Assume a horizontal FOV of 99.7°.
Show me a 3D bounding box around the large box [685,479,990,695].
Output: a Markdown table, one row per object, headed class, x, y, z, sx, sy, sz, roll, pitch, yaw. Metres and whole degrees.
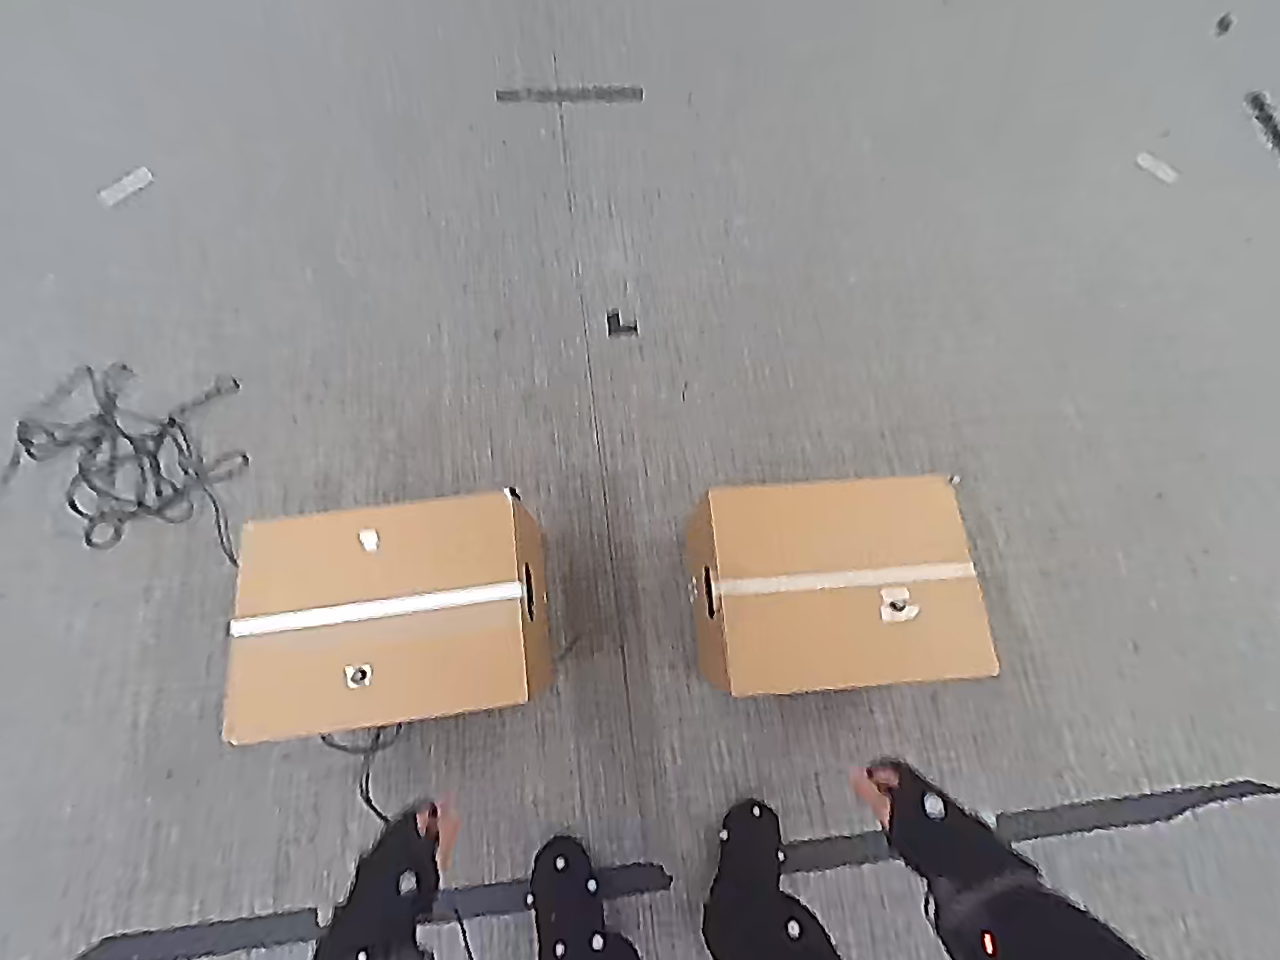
| class | x | y | z | sx | sy | sz | roll | pitch | yaw |
| --- | --- | --- | --- | --- | --- | --- | --- | --- | --- |
| large box | 0.313 | 0.201 | 0.987 | 0.408 | 0.320 | 0.320 | -3 | 73 | -4 |
